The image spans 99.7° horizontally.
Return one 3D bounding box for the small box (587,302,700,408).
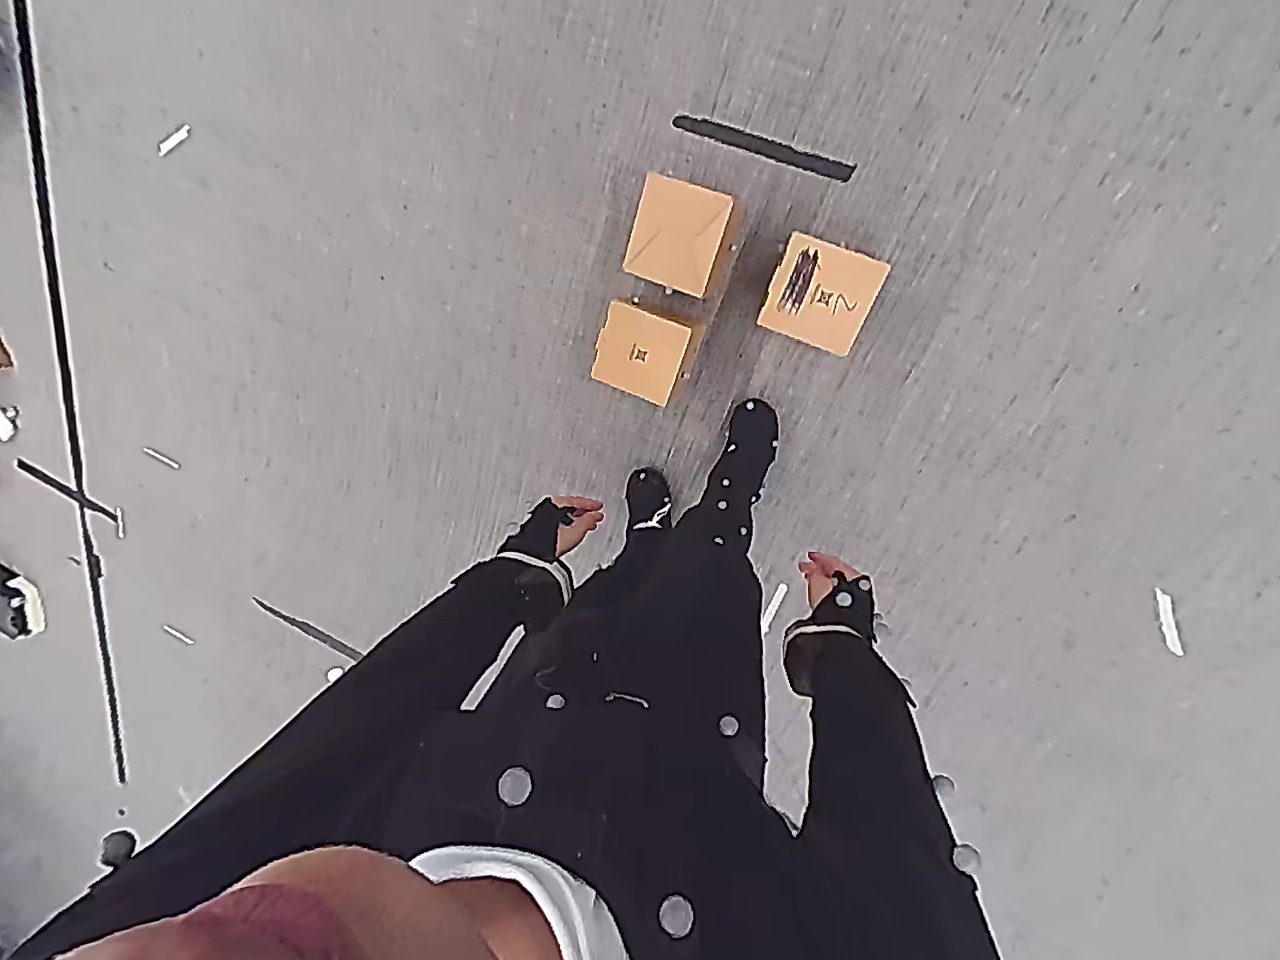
[{"bbox_3d":[0.014,-0.276,1.158,0.179,0.176,0.168,24,115,9],"label":"small box"}]
